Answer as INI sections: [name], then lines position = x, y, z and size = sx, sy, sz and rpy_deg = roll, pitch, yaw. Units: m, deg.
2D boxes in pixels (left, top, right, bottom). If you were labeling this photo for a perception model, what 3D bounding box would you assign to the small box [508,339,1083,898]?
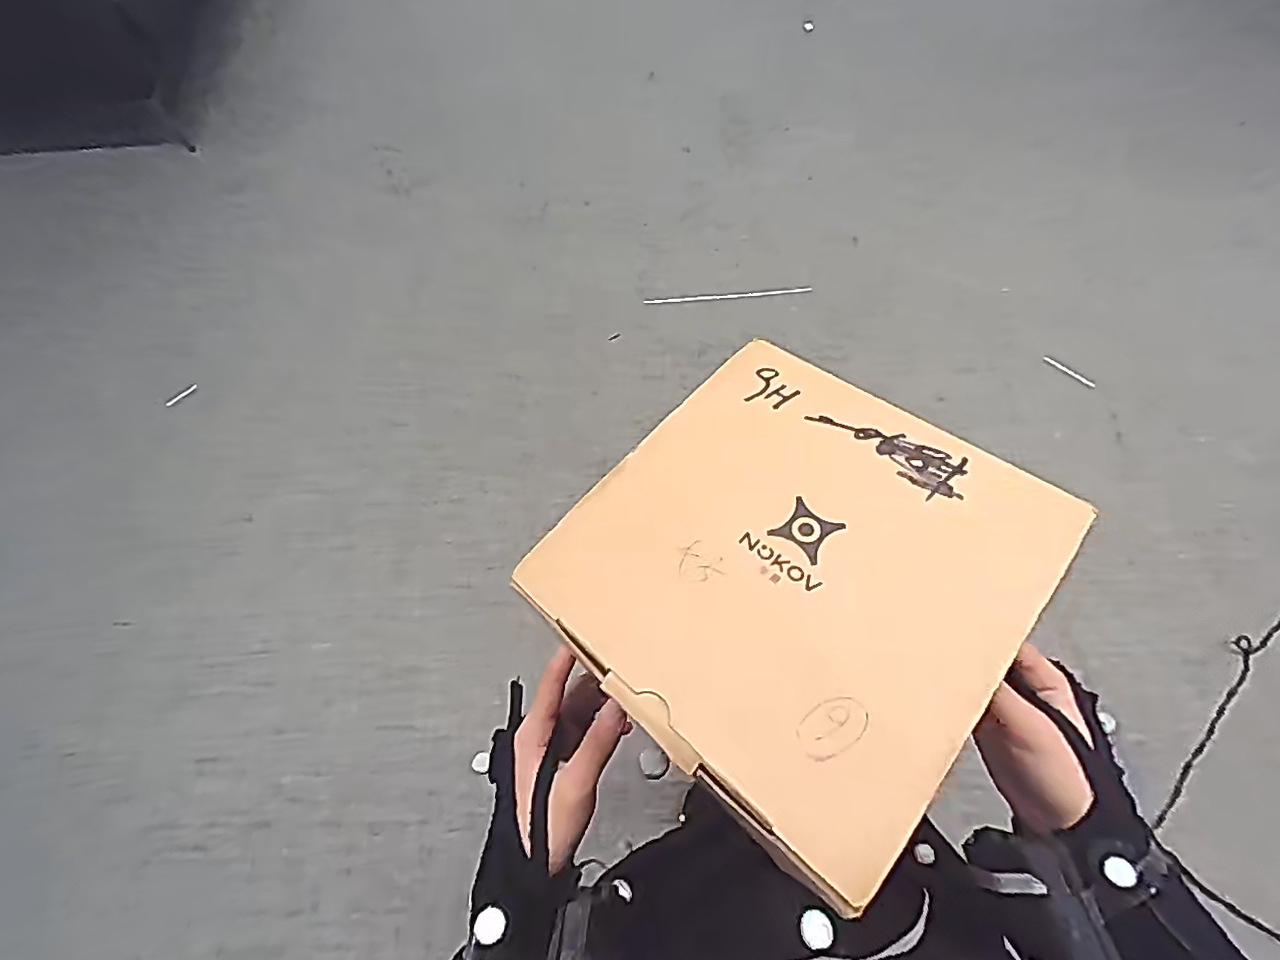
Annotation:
[small box]
position = 0.069, 0.068, 0.286
size = 0.168, 0.176, 0.179
rpy_deg = 36, 70, 27
